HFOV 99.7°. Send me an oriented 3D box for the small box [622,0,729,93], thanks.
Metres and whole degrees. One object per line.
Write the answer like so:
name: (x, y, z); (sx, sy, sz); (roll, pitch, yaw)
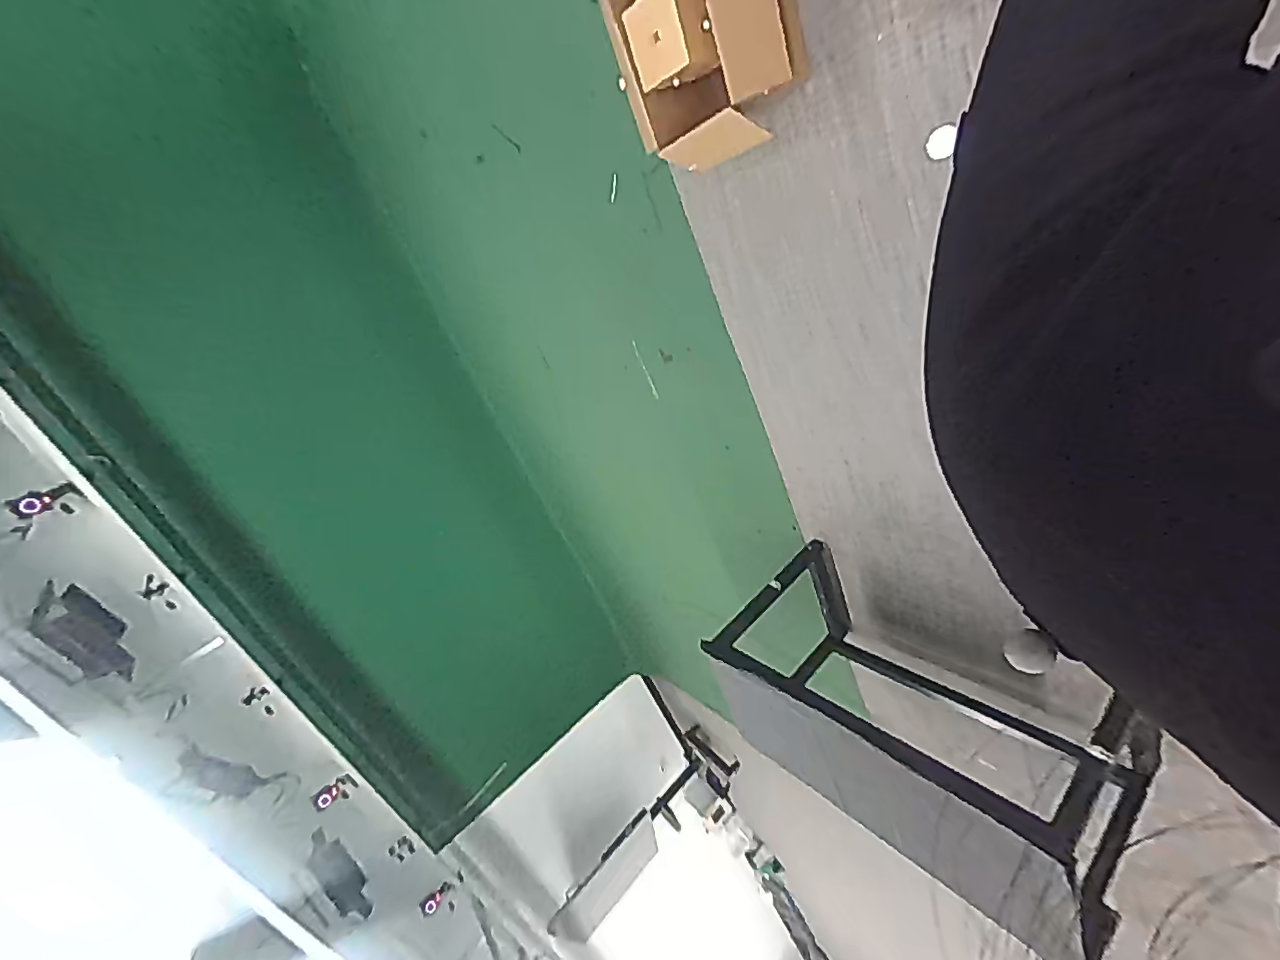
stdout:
small box: (0.092, -1.073, 1.299); (0.179, 0.176, 0.168); (14, 133, 51)
